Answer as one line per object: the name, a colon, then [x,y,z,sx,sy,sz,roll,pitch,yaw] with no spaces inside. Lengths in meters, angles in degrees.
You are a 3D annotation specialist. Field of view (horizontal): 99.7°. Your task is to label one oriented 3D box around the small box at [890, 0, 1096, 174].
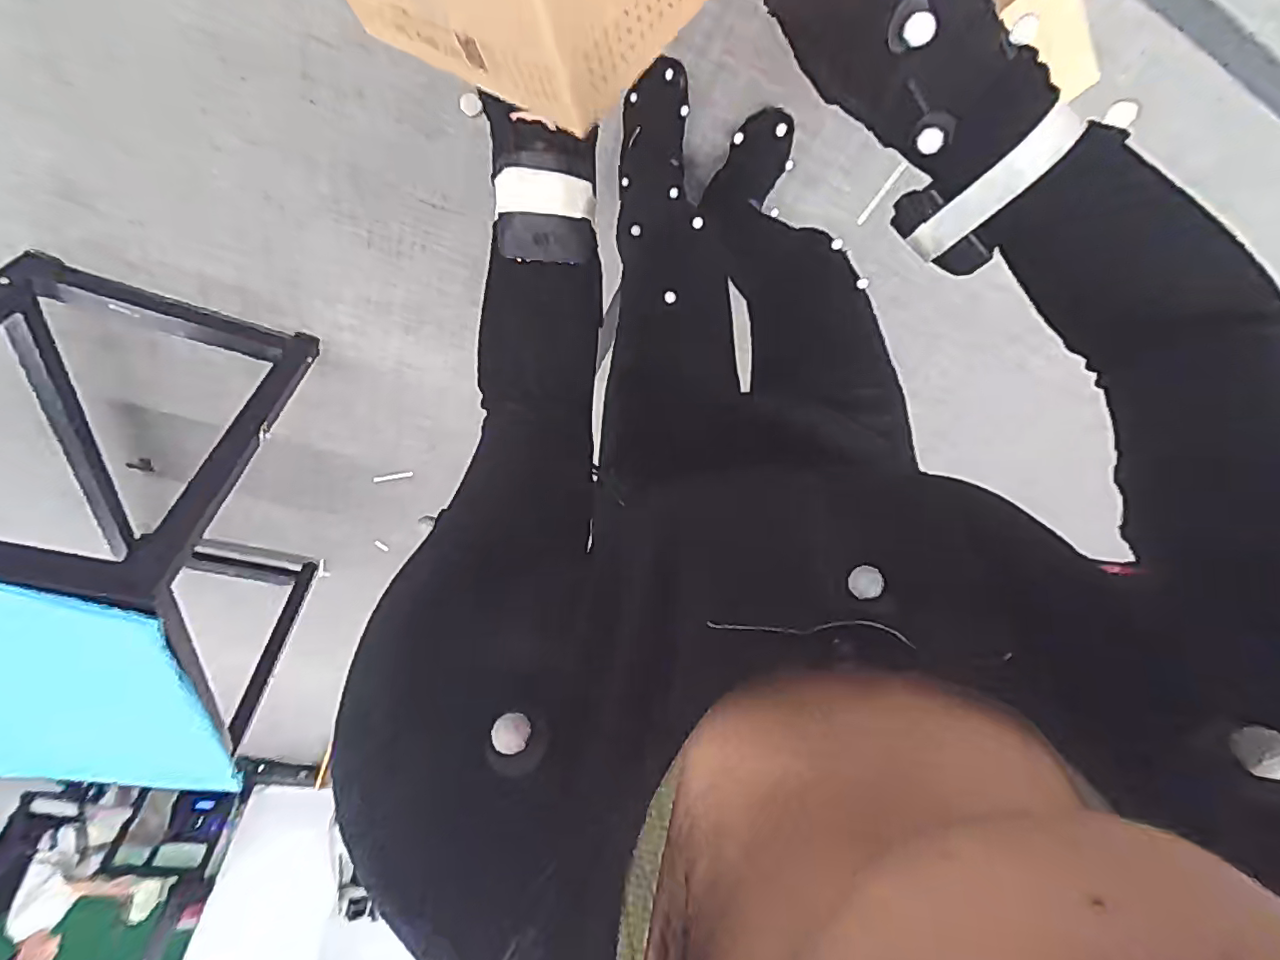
small box: [0.470,-0.578,0.746,0.179,0.176,0.168,-31,132,30]
